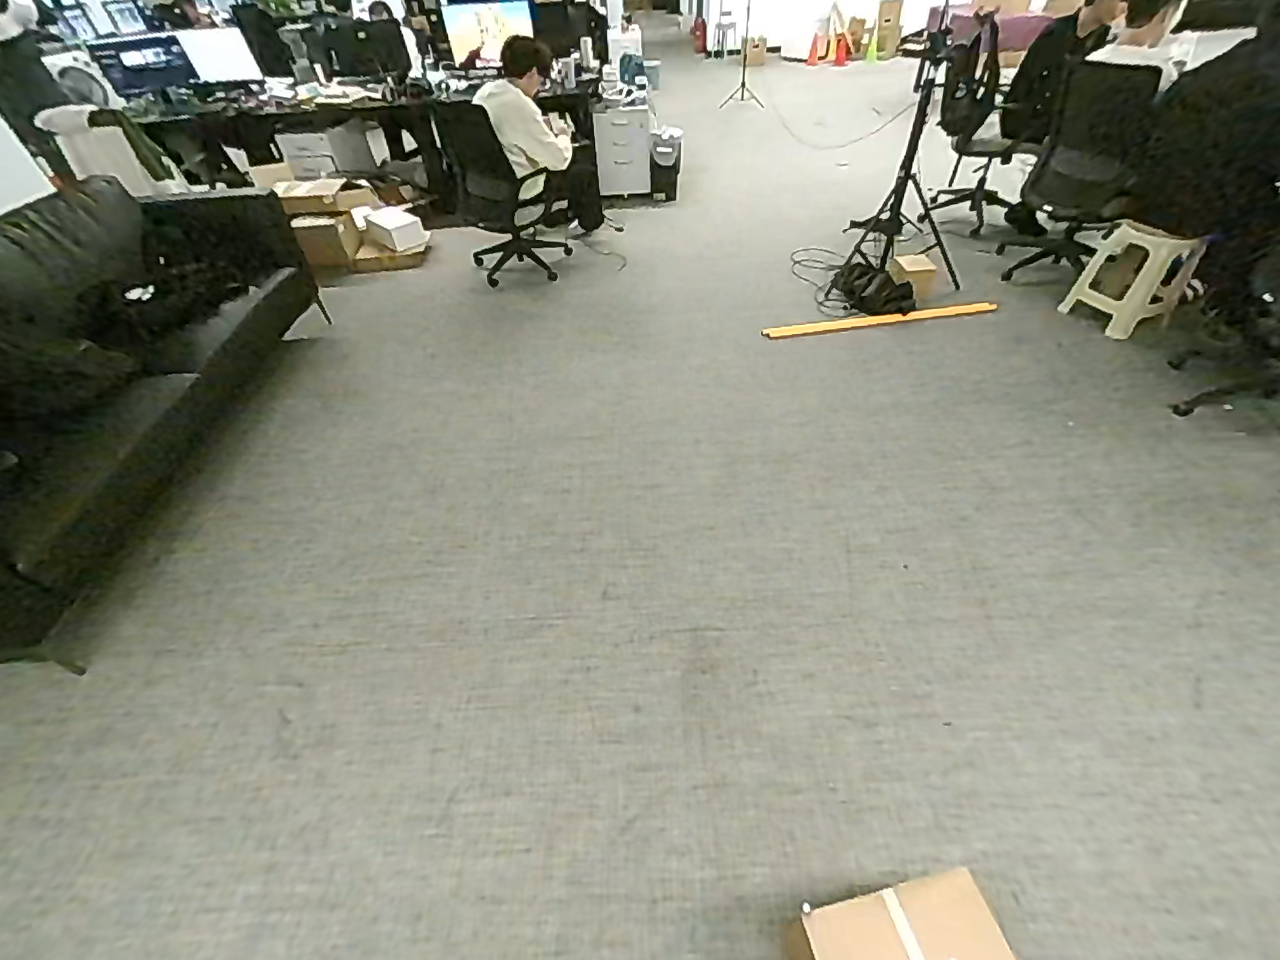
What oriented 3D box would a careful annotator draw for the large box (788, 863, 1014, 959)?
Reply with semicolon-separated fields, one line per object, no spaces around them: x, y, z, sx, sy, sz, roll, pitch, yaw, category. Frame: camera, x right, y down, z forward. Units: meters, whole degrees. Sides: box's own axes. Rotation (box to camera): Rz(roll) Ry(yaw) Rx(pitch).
0.489;0.961;0.927;0.320;0.320;0.408;-12;45;-6;large box
